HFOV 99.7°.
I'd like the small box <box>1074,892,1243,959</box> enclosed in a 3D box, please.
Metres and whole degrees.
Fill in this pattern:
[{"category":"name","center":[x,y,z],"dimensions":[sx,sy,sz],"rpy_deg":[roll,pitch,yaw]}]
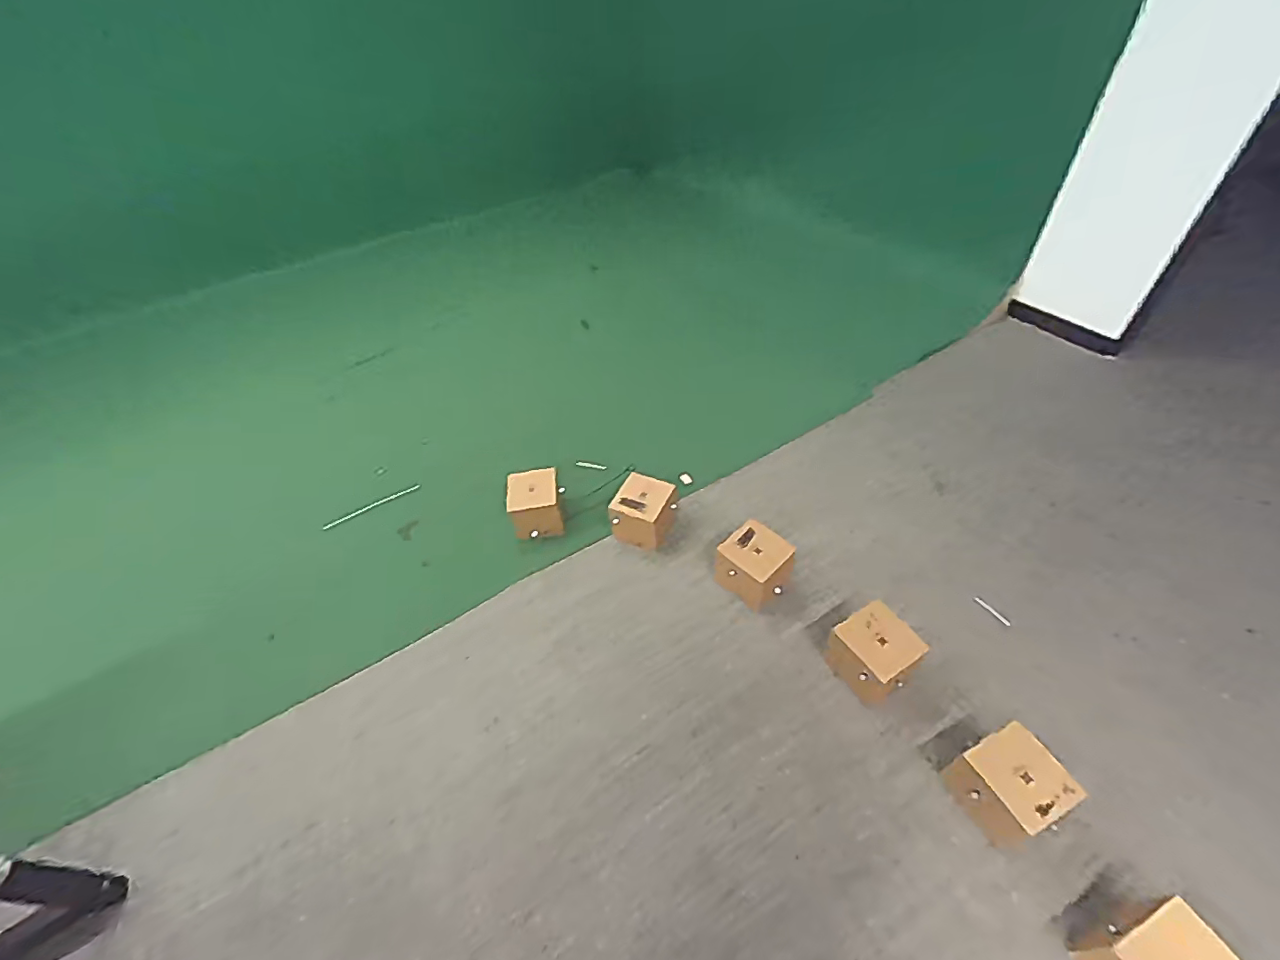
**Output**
[{"category":"small box","center":[0.958,0.897,0.990],"dimensions":[0.179,0.176,0.168],"rpy_deg":[-23,49,-14]}]

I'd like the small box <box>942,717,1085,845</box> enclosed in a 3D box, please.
[{"category":"small box","center":[0.820,0.675,1.210],"dimensions":[0.168,0.176,0.179],"rpy_deg":[-23,48,-13]}]

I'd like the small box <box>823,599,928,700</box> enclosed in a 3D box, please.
[{"category":"small box","center":[0.617,0.458,1.437],"dimensions":[0.168,0.176,0.179],"rpy_deg":[-26,50,-18]}]

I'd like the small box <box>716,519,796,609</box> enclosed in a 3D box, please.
[{"category":"small box","center":[0.347,0.260,1.654],"dimensions":[0.168,0.176,0.179],"rpy_deg":[-37,54,-25]}]

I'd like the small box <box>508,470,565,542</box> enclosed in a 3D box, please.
[{"category":"small box","center":[-0.360,0.093,1.900],"dimensions":[0.168,0.176,0.179],"rpy_deg":[-9,47,-1]}]
